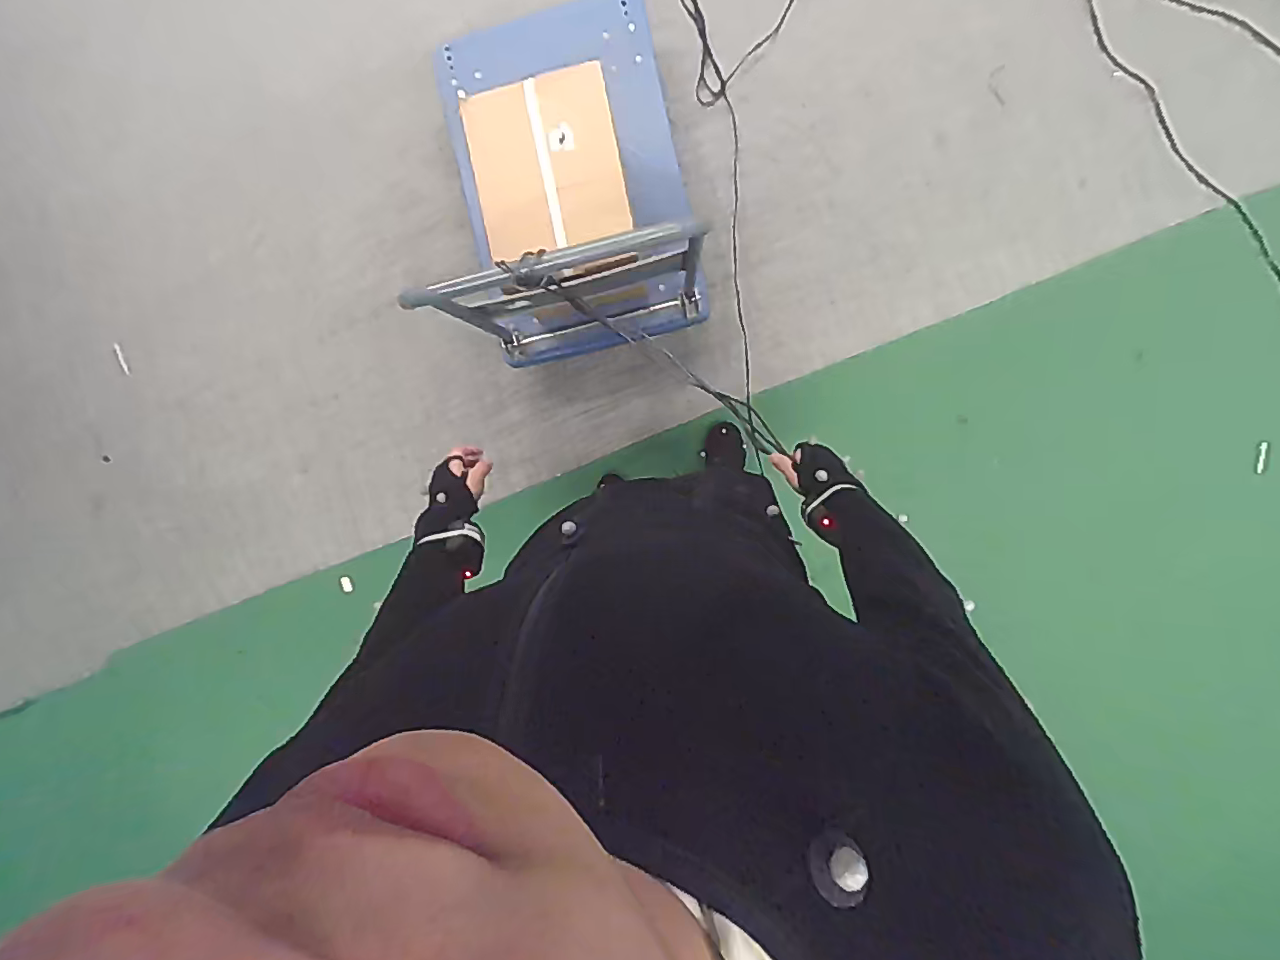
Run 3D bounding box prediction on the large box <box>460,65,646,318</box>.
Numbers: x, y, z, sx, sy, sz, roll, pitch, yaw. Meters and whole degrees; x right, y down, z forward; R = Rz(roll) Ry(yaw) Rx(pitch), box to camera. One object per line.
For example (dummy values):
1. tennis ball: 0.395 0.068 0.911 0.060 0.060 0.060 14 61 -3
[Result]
1. large box: -0.184 -0.651 1.294 0.320 0.320 0.408 -11 92 5
